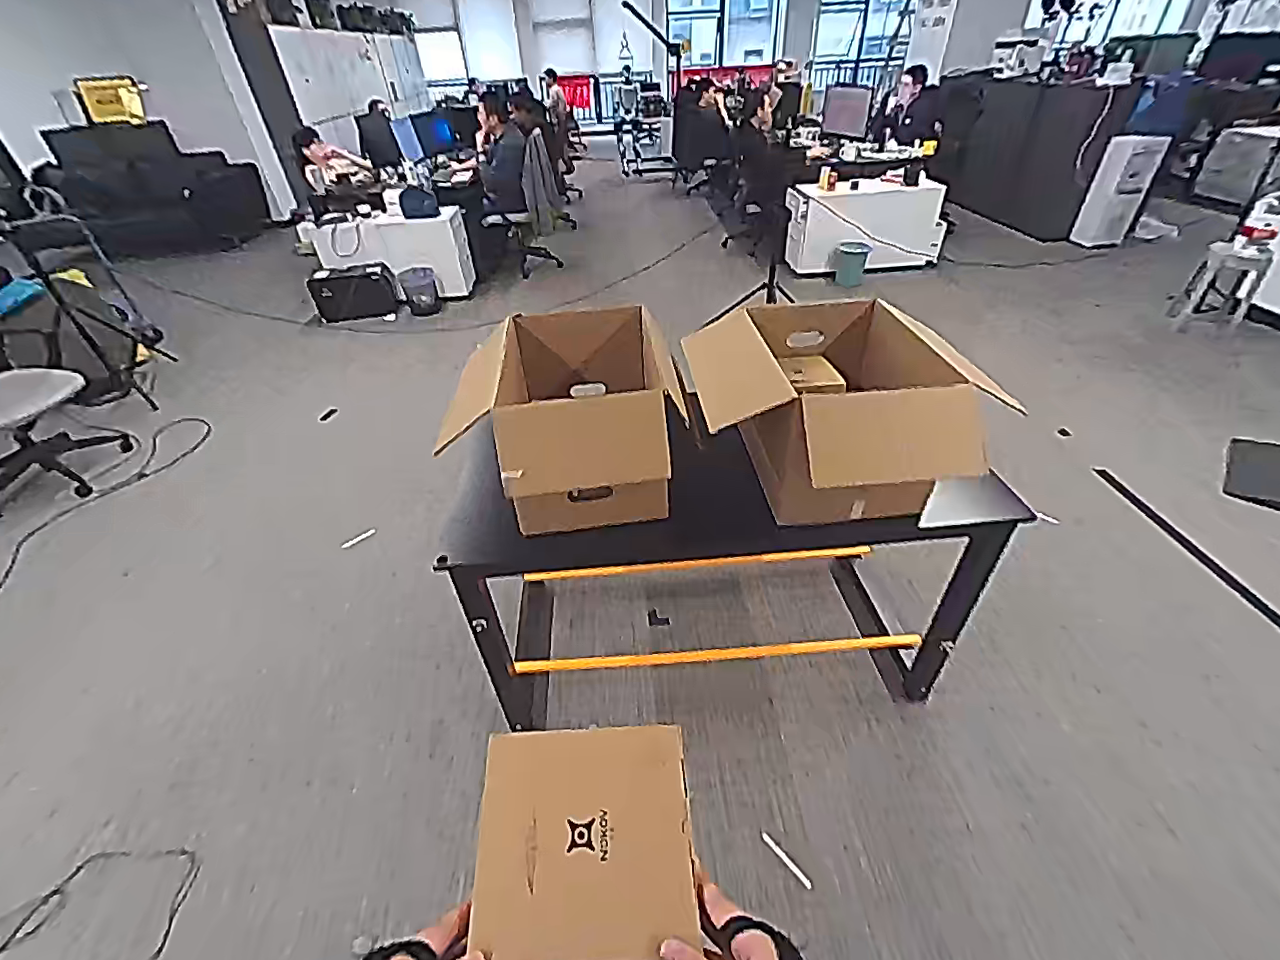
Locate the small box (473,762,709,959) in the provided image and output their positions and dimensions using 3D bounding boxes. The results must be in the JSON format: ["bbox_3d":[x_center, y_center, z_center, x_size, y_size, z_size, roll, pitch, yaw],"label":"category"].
[{"bbox_3d":[-0.041,0.369,0.489,0.179,0.176,0.168,-3,48,-3],"label":"small box"}]
